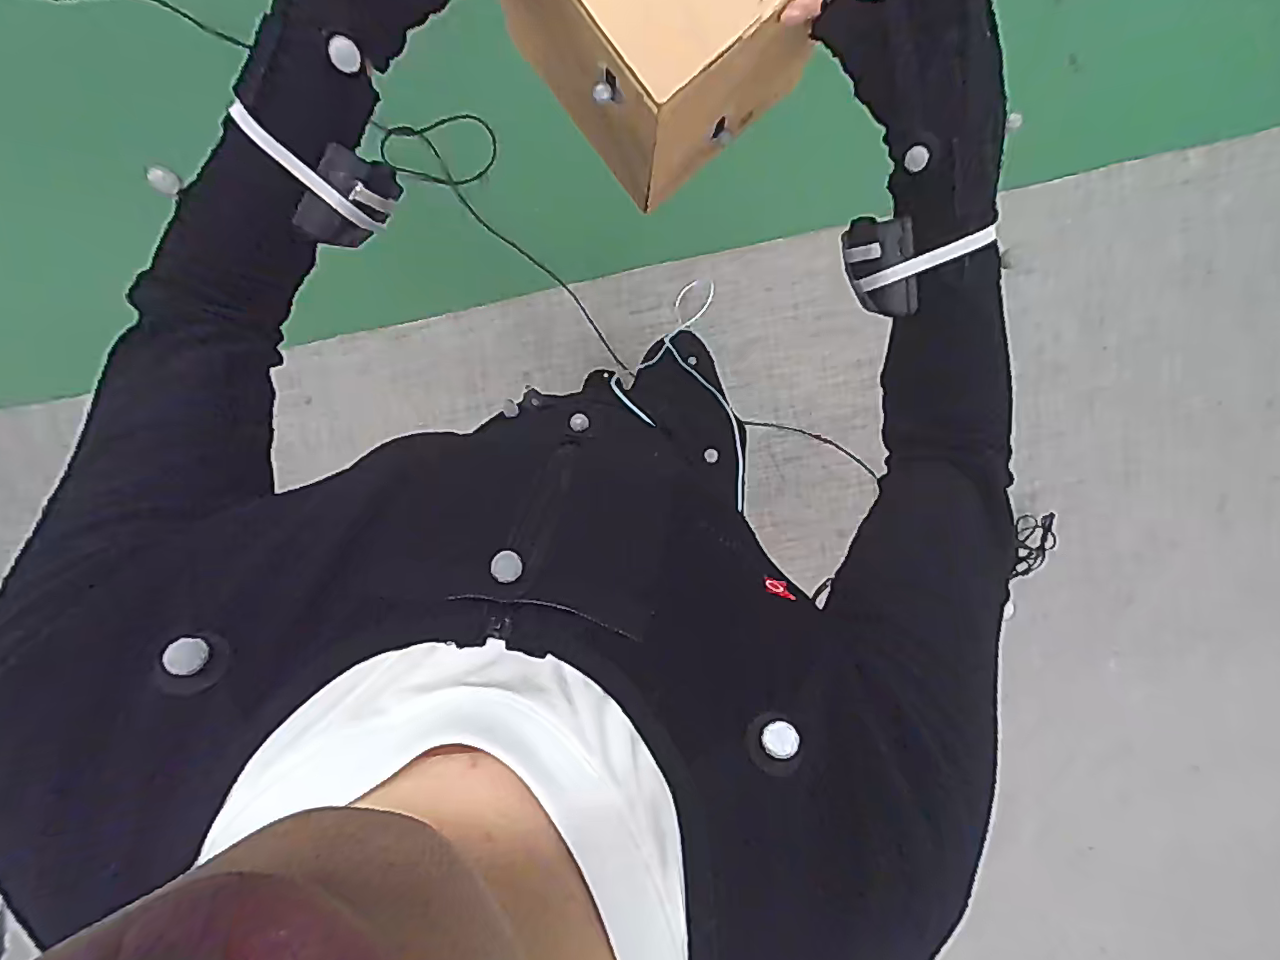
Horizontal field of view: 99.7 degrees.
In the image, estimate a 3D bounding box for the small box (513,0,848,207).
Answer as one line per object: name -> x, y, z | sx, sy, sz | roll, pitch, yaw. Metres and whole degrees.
small box -> 0.018, -0.335, 0.379 | 0.168, 0.176, 0.179 | -39, 99, 2
